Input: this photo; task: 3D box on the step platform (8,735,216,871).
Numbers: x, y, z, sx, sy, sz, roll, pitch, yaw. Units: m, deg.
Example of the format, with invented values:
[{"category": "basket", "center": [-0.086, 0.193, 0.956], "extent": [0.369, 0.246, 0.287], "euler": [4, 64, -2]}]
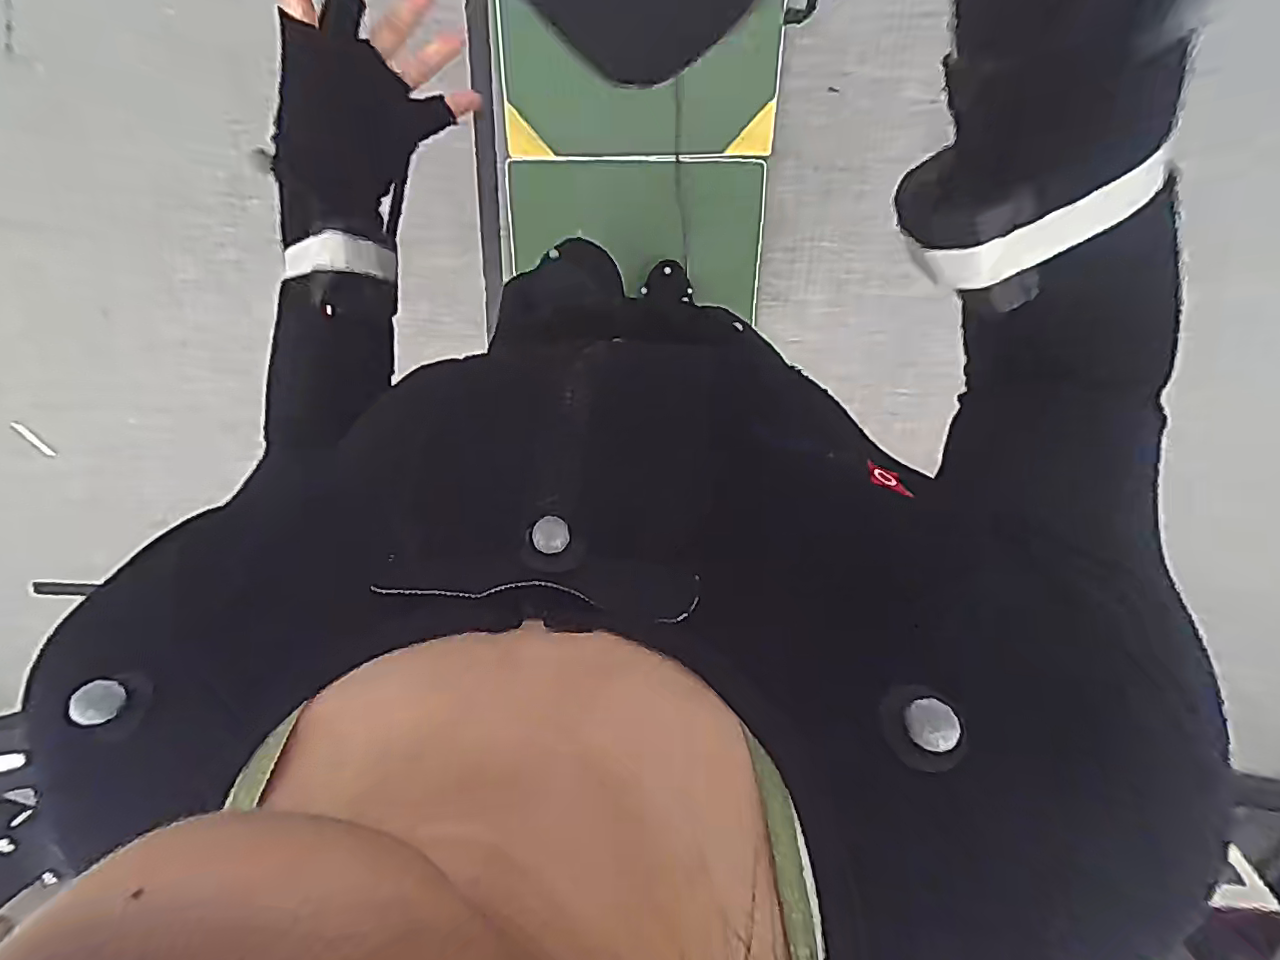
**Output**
[{"category": "step platform", "center": [-2.000, 1.229, 2.050], "extent": [0.684, 0.204, 0.286], "euler": [-26, 109, 11]}]
